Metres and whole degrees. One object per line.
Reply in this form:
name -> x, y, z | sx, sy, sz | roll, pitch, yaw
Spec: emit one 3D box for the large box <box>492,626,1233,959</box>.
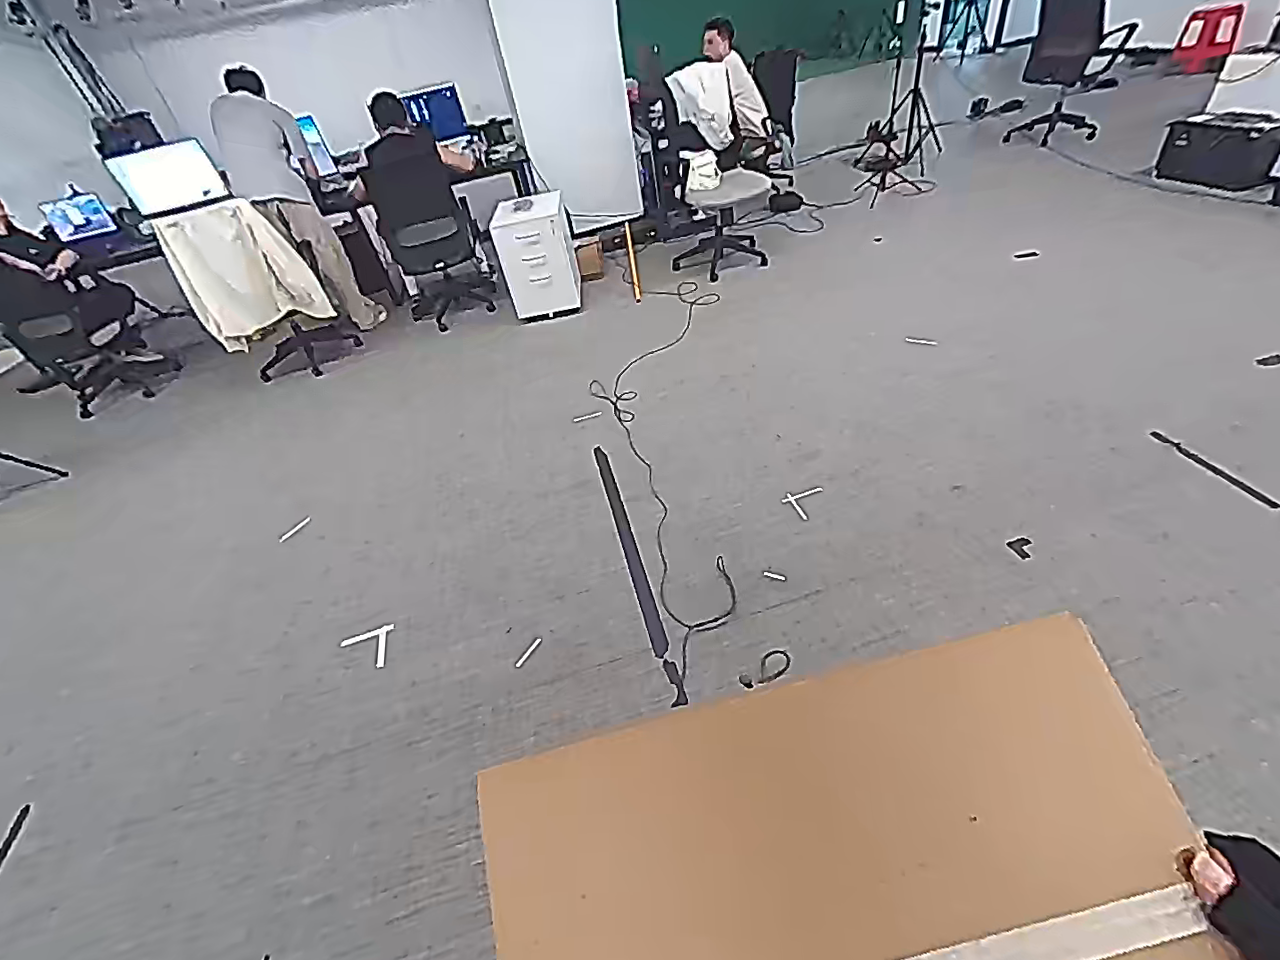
large box -> 0.144, 0.339, 0.448 | 0.408, 0.320, 0.320 | -16, 68, 0
